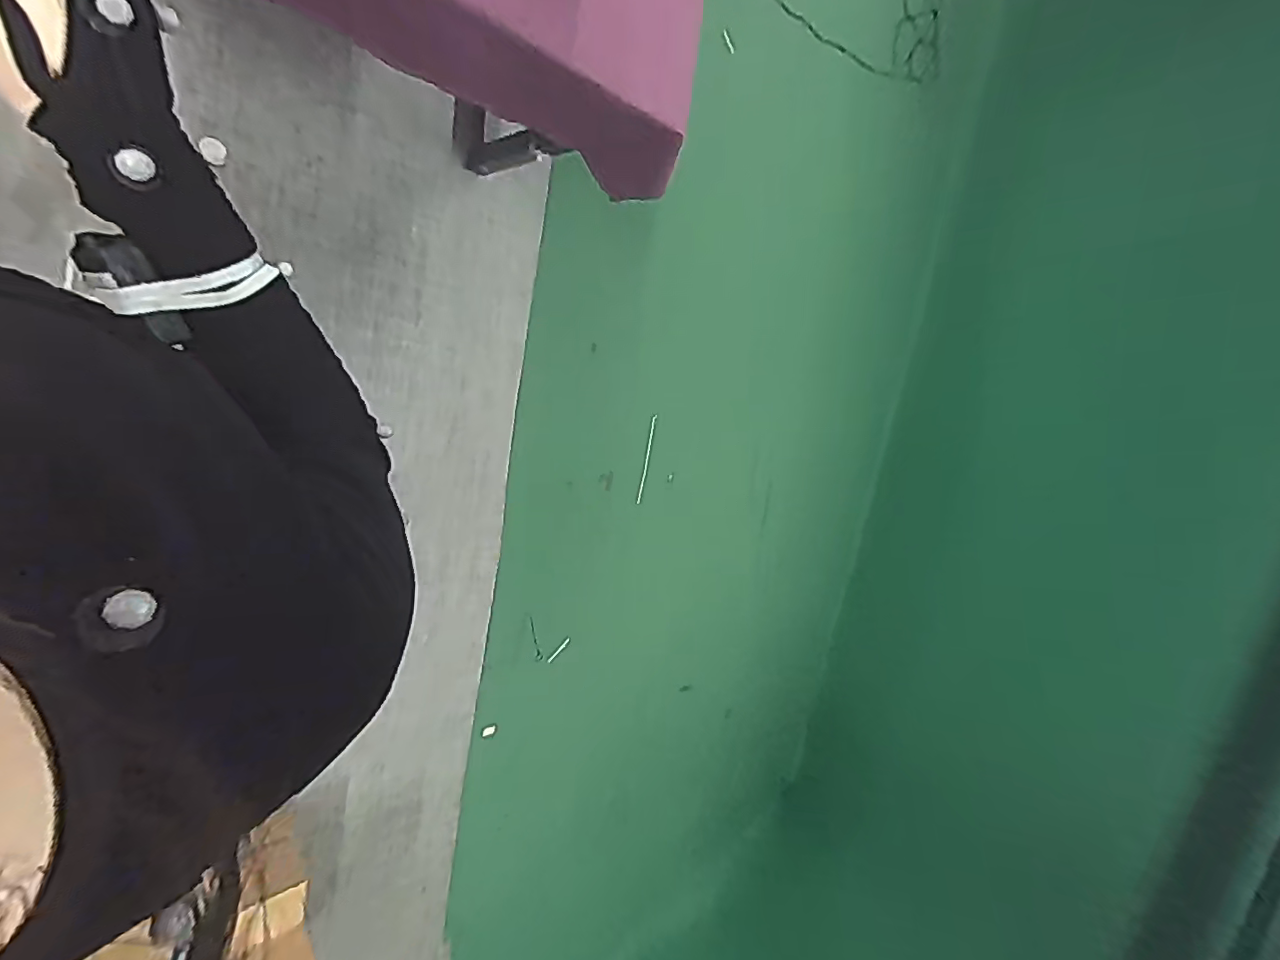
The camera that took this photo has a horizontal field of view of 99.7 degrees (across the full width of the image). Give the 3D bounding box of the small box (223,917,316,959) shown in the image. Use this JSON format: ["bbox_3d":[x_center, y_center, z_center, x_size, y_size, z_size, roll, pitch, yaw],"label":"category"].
[{"bbox_3d":[-0.859,1.175,1.238,0.179,0.176,0.168,-2,109,-46],"label":"small box"}]
